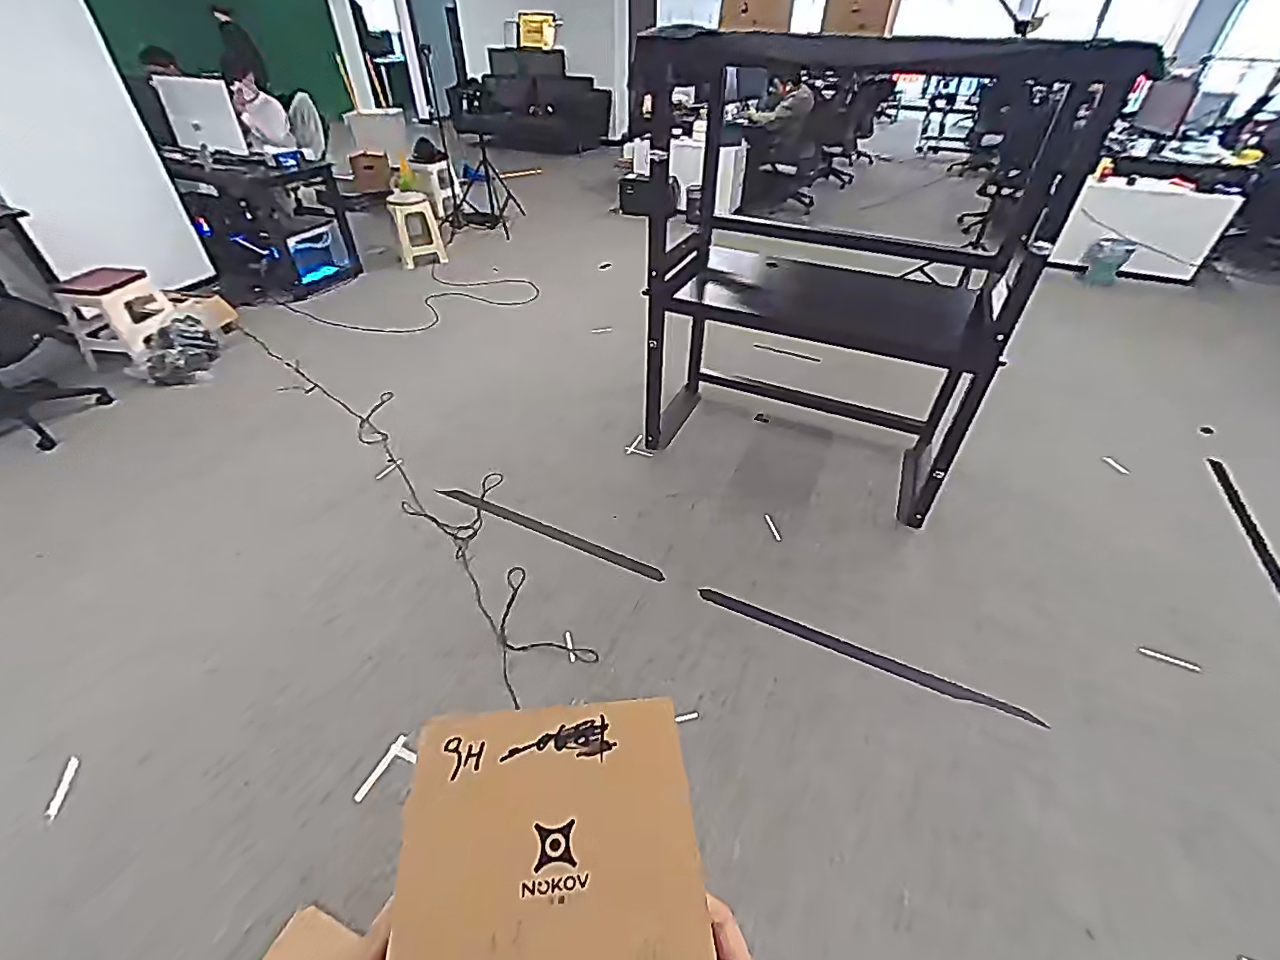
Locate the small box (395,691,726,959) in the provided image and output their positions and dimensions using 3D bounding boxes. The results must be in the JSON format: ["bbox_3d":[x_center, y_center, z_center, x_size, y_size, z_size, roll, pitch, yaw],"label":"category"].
[{"bbox_3d":[-0.048,0.261,0.353,0.168,0.176,0.179,-1,46,-8],"label":"small box"}]

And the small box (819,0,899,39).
[{"bbox_3d":[0.570,-1.240,1.380,0.168,0.176,0.179,18,41,19],"label":"small box"}]

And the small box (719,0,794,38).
[{"bbox_3d":[0.323,-1.317,1.469,0.168,0.176,0.179,18,42,17],"label":"small box"}]
